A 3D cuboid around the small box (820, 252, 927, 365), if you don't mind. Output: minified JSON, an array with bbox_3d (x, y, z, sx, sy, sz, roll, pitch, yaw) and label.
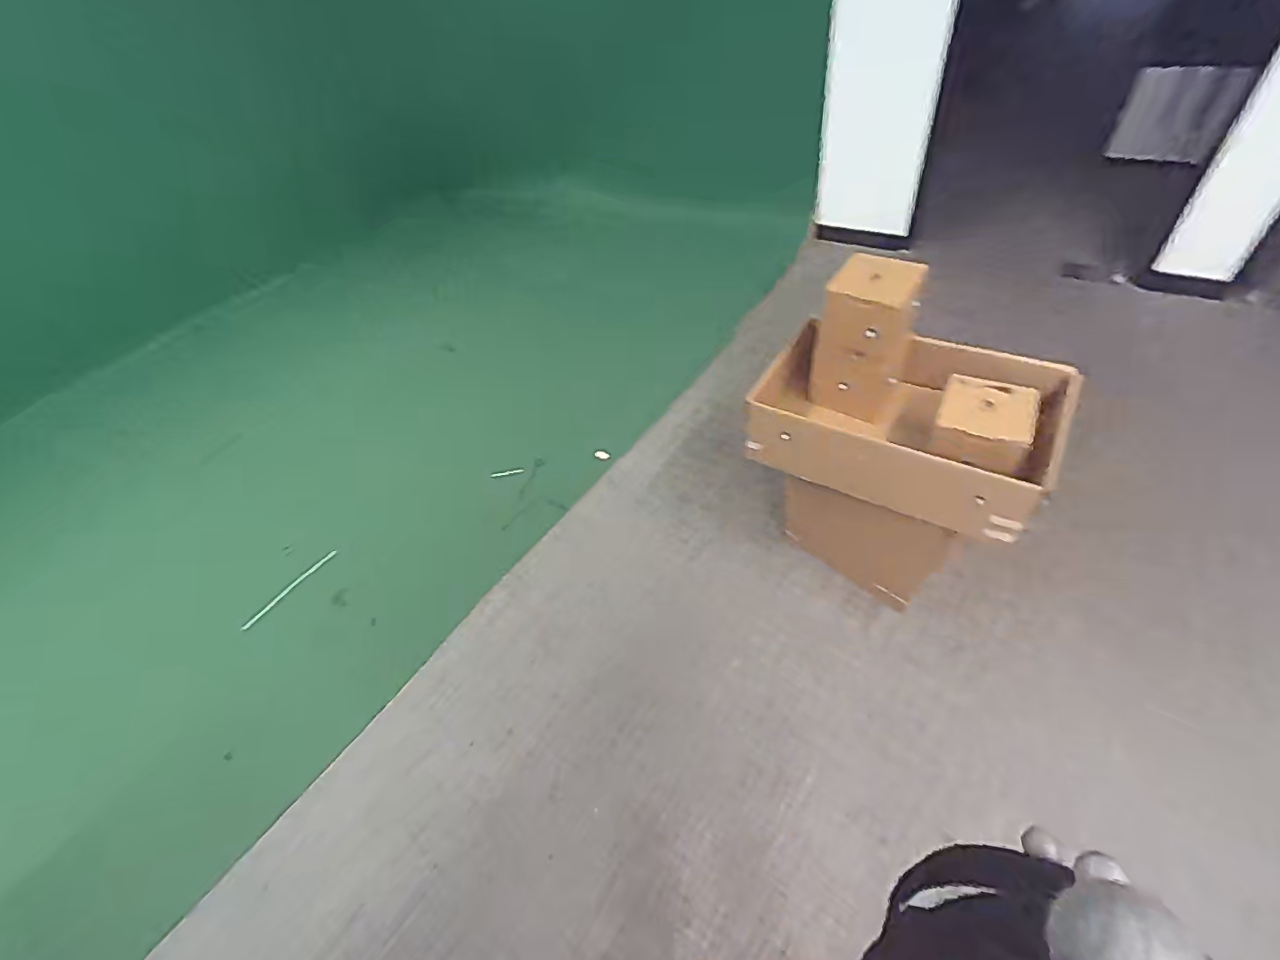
[{"bbox_3d":[0.526,-0.390,1.239,0.168,0.176,0.179,25,58,28],"label":"small box"}]
